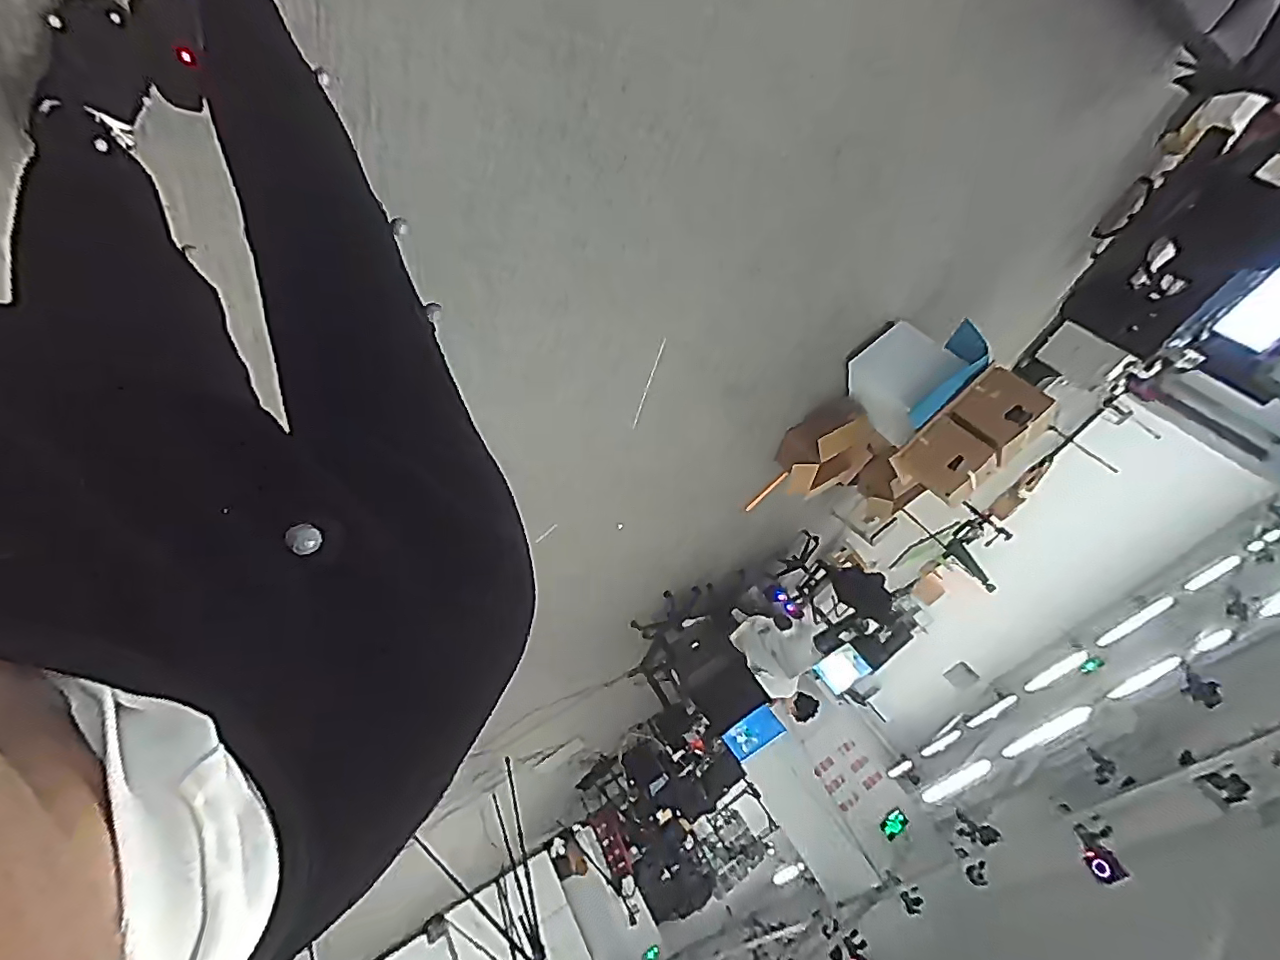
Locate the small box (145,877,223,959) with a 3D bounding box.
[{"bbox_3d":[-1.440,1.403,1.712,0.168,0.176,0.179,-11,139,-35],"label":"small box"}]
